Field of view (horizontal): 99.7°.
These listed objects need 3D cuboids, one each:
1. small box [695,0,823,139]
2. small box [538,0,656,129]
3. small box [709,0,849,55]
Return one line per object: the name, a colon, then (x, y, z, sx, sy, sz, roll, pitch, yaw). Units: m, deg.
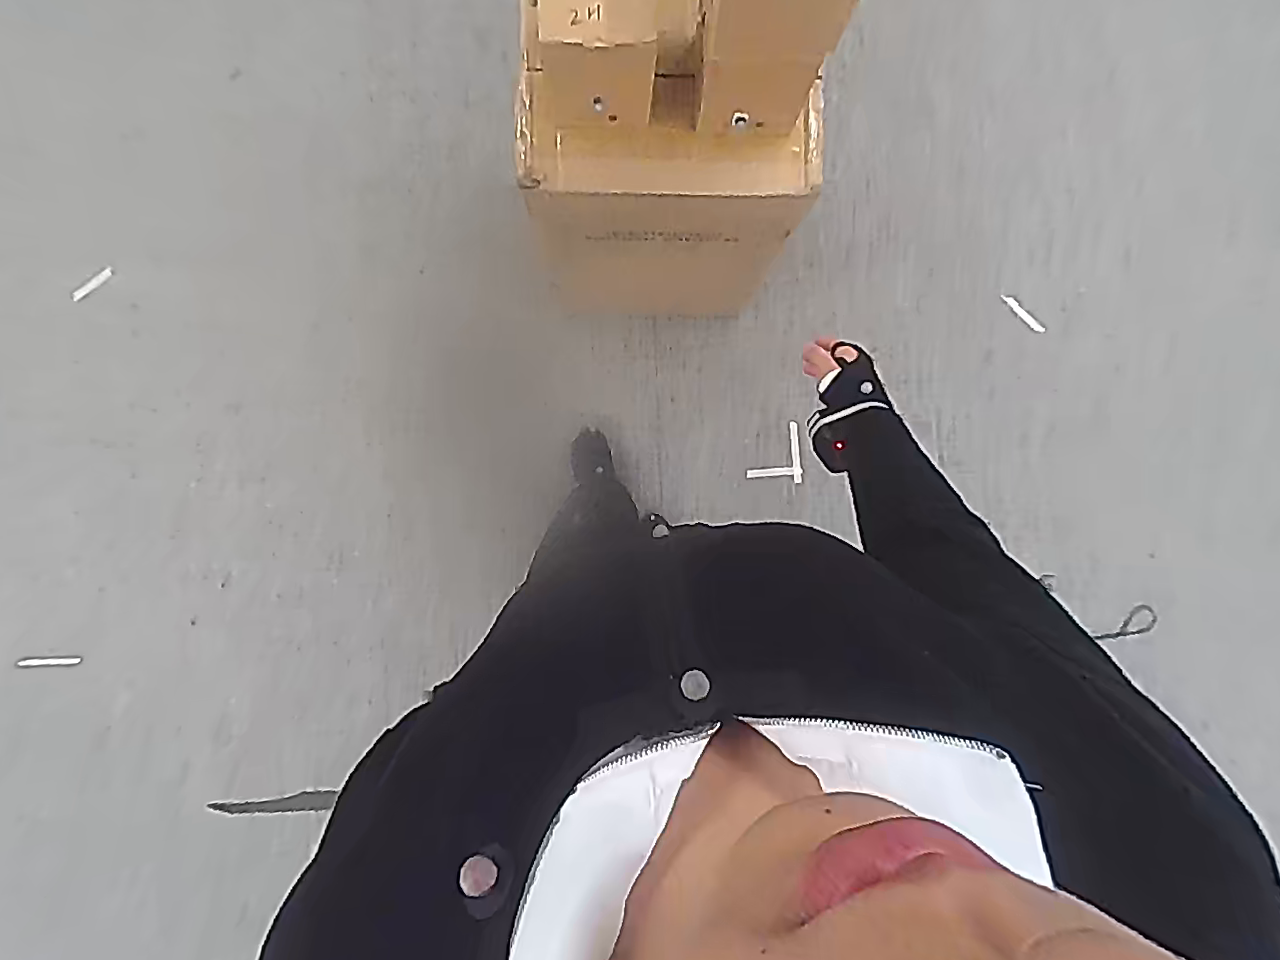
small box: (0.176, -0.675, 0.846, 0.168, 0.176, 0.179, -1, 89, 0)
small box: (-0.067, -0.685, 0.834, 0.168, 0.176, 0.179, -2, 88, -3)
small box: (0.182, -0.680, 0.681, 0.179, 0.176, 0.168, -1, 88, -1)
